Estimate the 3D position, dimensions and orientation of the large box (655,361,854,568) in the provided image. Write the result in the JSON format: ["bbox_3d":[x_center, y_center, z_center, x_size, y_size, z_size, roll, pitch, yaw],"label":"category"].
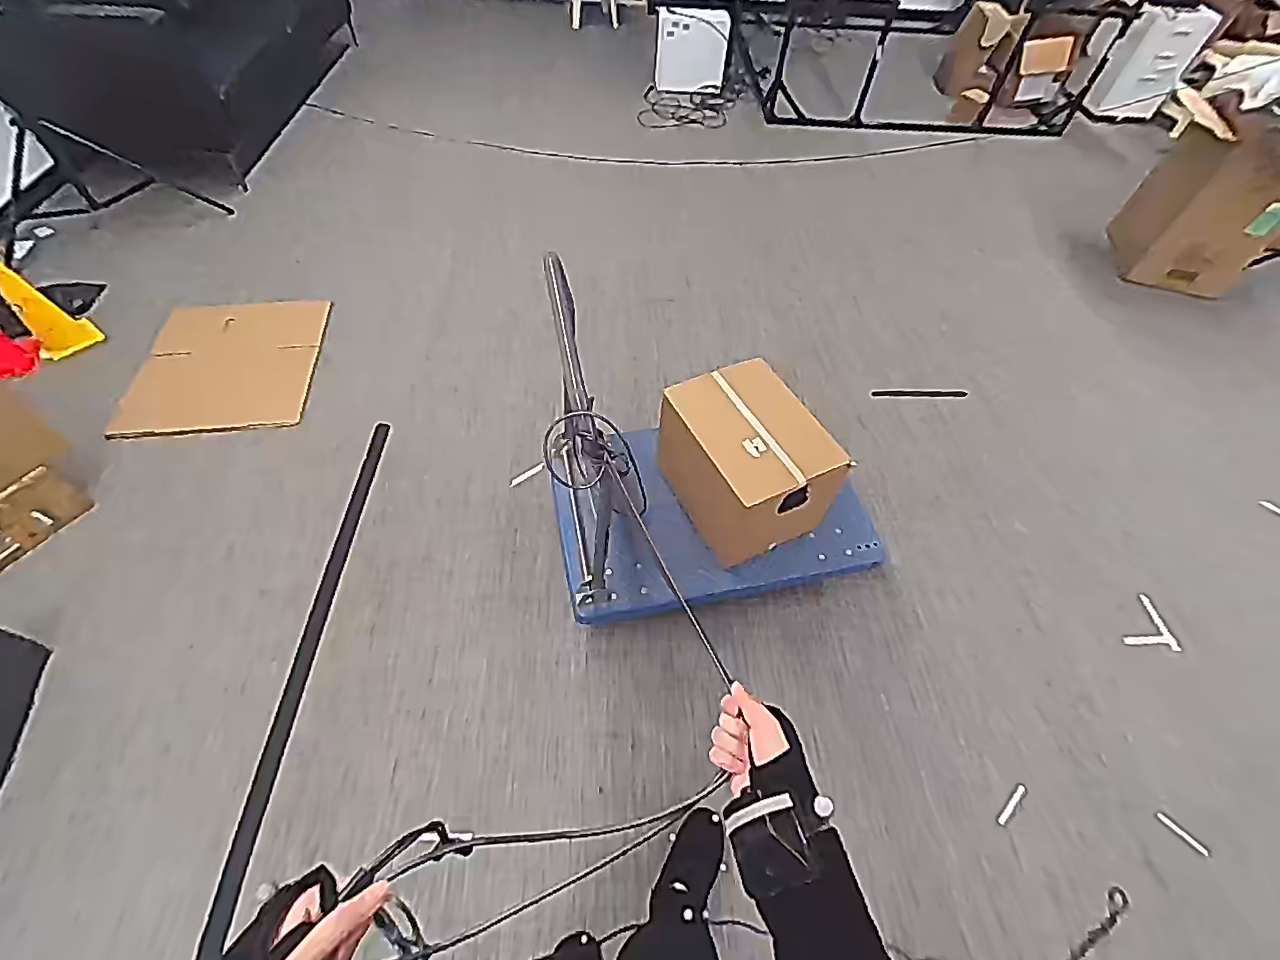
[{"bbox_3d":[0.275,-0.045,1.454,0.320,0.320,0.408,-21,59,-17],"label":"large box"}]
